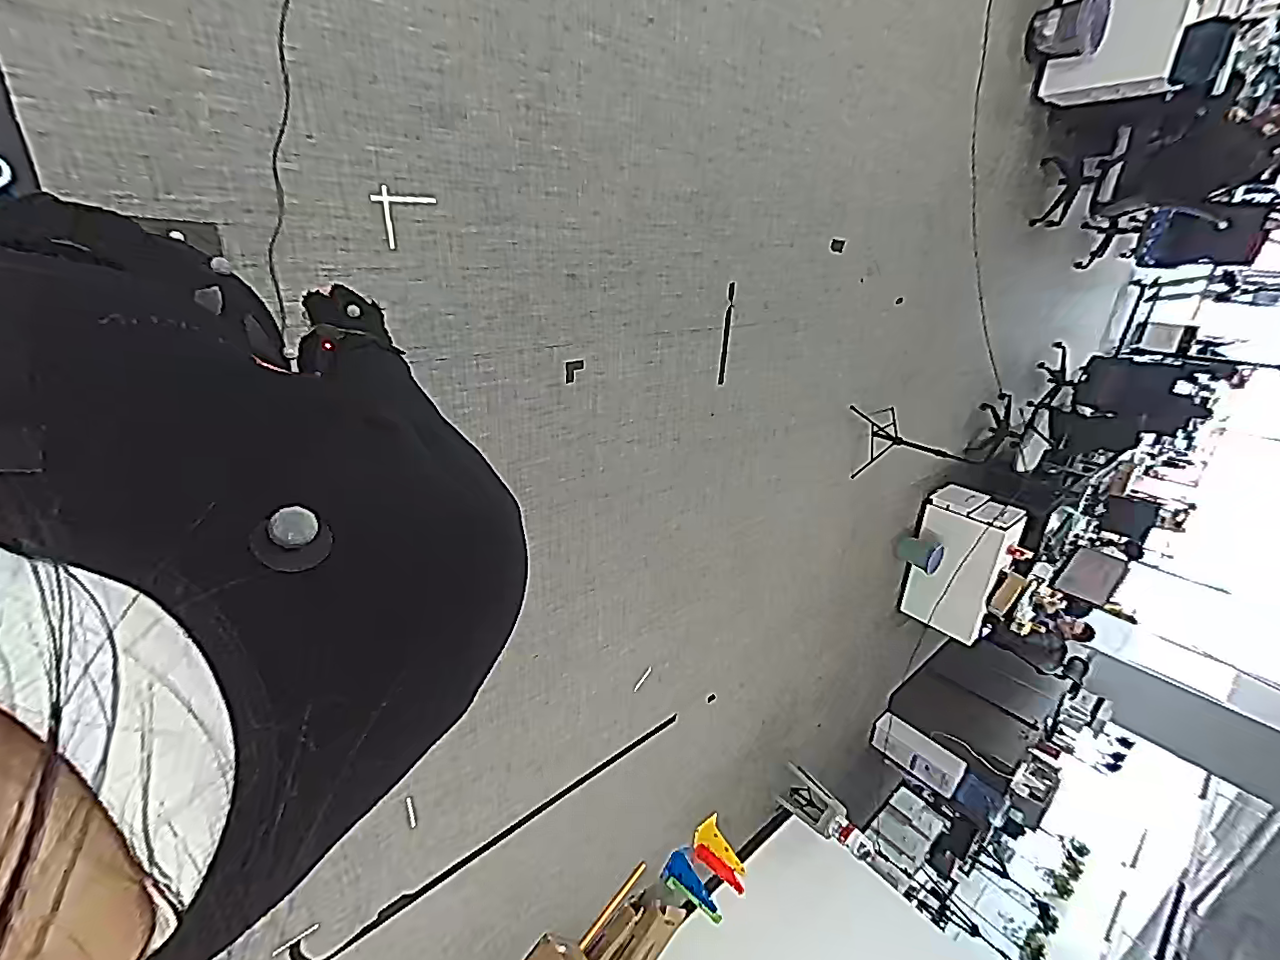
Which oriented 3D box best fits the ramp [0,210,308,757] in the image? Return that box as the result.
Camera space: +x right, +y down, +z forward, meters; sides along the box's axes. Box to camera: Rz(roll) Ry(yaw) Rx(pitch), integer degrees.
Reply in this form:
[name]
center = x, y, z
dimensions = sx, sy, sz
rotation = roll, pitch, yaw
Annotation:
[ramp]
center = -1.037, 0.010, 1.072
dimensions = 0.509, 0.206, 0.991
rotation = -15, 119, -36
